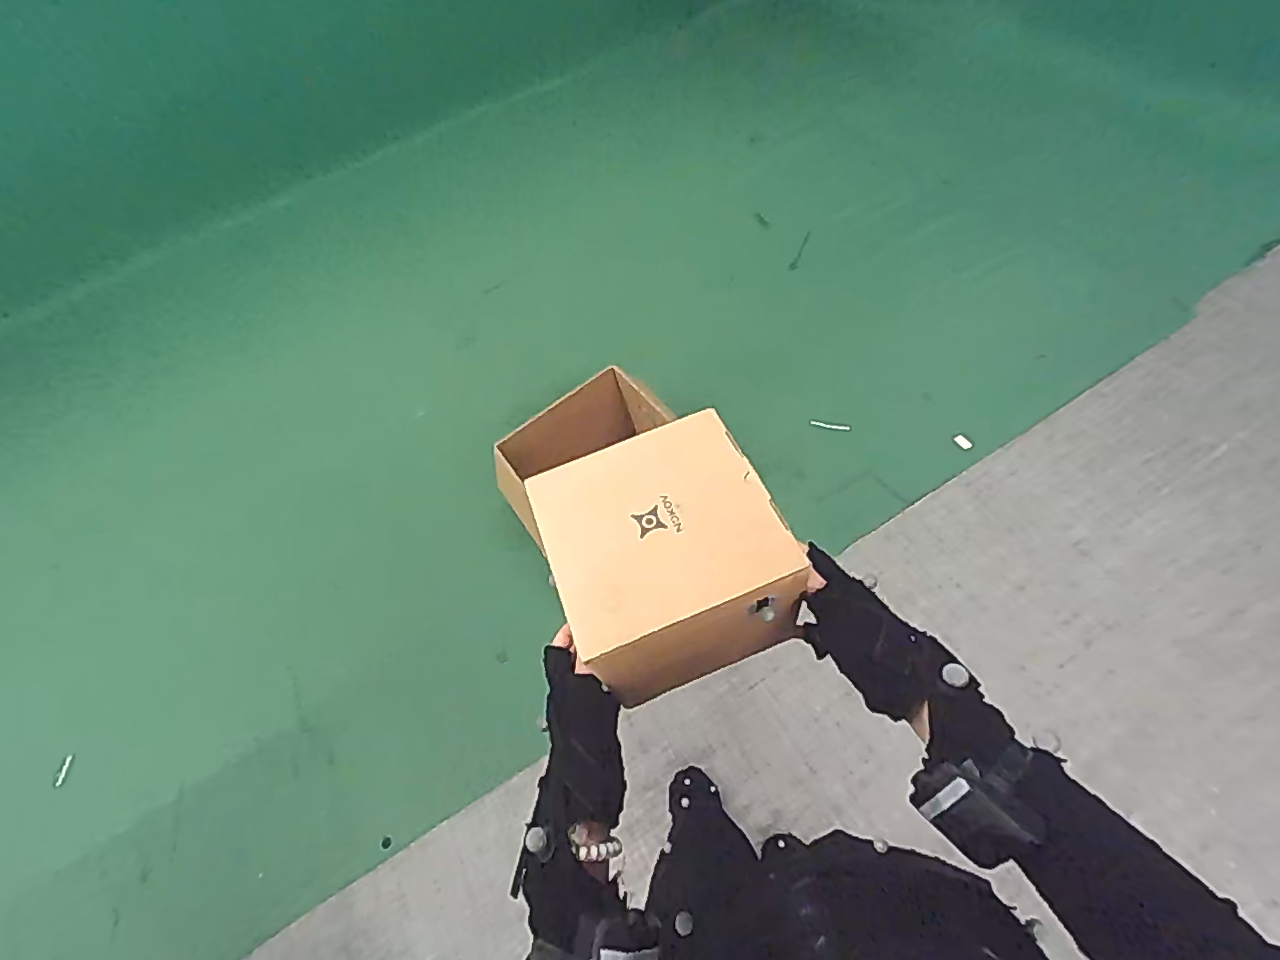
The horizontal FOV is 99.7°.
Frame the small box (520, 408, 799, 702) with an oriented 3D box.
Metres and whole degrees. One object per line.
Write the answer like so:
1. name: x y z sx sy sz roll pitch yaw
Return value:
1. small box: 0.018 0.073 0.479 0.179 0.176 0.168 -22 56 -5
